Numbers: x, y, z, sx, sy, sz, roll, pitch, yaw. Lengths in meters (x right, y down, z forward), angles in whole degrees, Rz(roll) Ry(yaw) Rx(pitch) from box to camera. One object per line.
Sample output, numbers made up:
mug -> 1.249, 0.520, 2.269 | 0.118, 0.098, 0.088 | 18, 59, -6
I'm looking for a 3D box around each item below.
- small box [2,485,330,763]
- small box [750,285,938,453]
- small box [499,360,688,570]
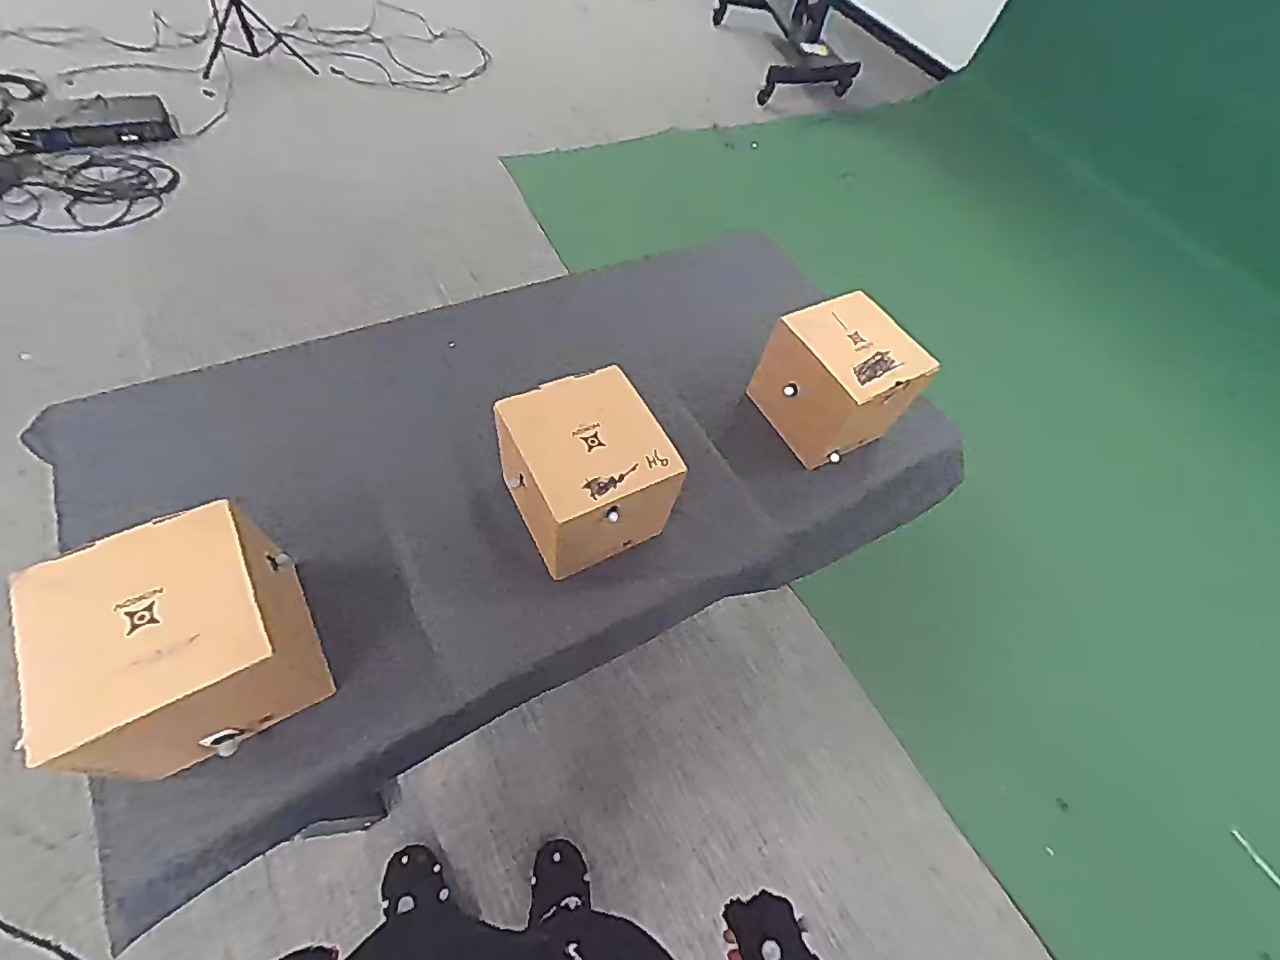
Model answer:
small box -> -0.425, 0.140, 0.510 | 0.168, 0.176, 0.179 | -24, 66, -20
small box -> 0.300, -0.162, 0.834 | 0.168, 0.176, 0.179 | -23, 65, -21
small box -> -0.067, -0.016, 0.688 | 0.168, 0.176, 0.179 | -23, 65, -21
